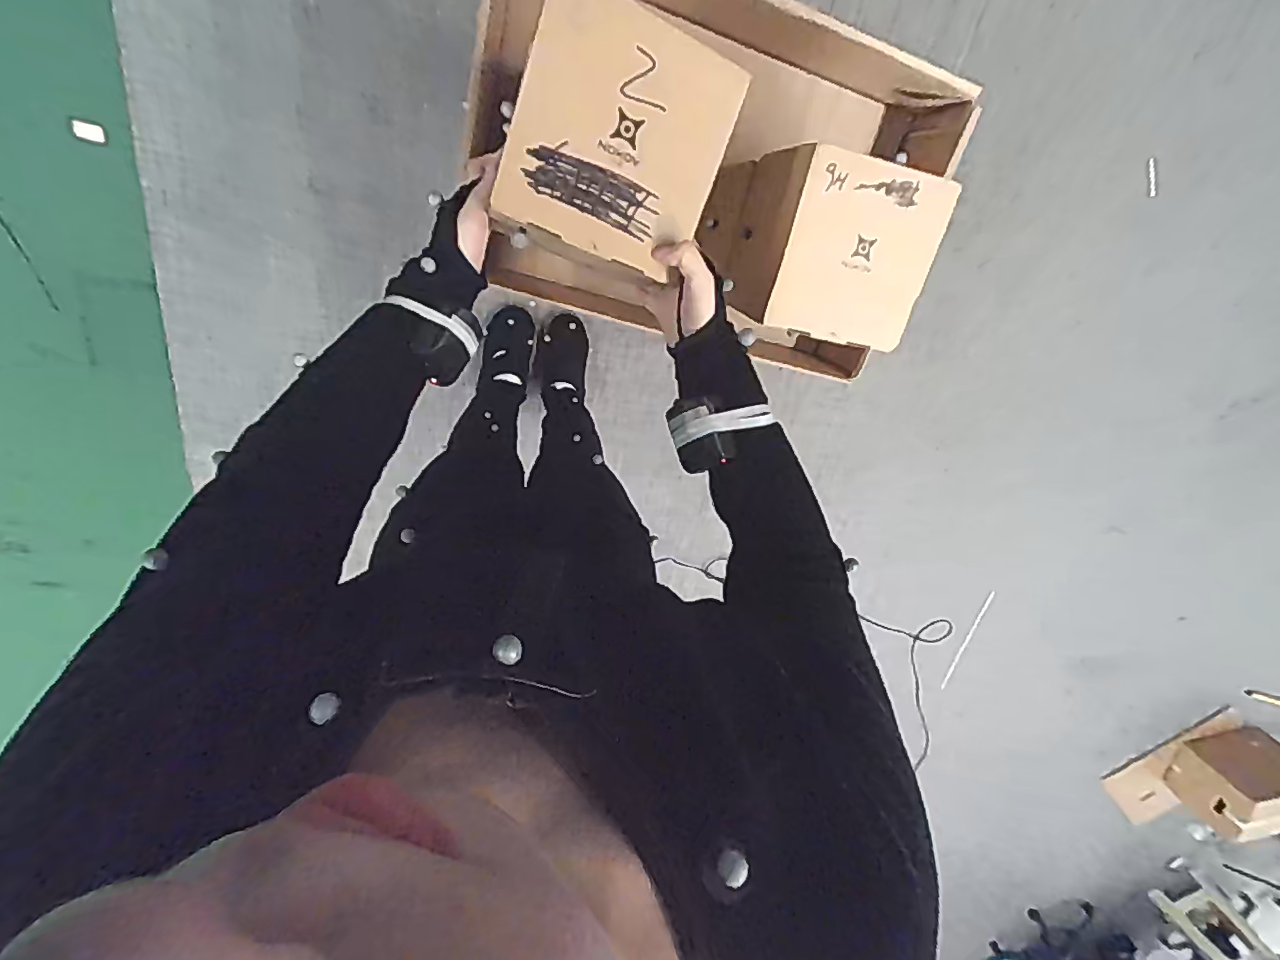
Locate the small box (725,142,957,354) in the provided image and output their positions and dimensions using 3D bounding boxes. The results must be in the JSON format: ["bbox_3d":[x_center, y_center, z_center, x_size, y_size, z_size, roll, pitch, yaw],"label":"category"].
[{"bbox_3d":[0.213,-0.270,0.634,0.168,0.176,0.179,8,116,-14],"label":"small box"}]
